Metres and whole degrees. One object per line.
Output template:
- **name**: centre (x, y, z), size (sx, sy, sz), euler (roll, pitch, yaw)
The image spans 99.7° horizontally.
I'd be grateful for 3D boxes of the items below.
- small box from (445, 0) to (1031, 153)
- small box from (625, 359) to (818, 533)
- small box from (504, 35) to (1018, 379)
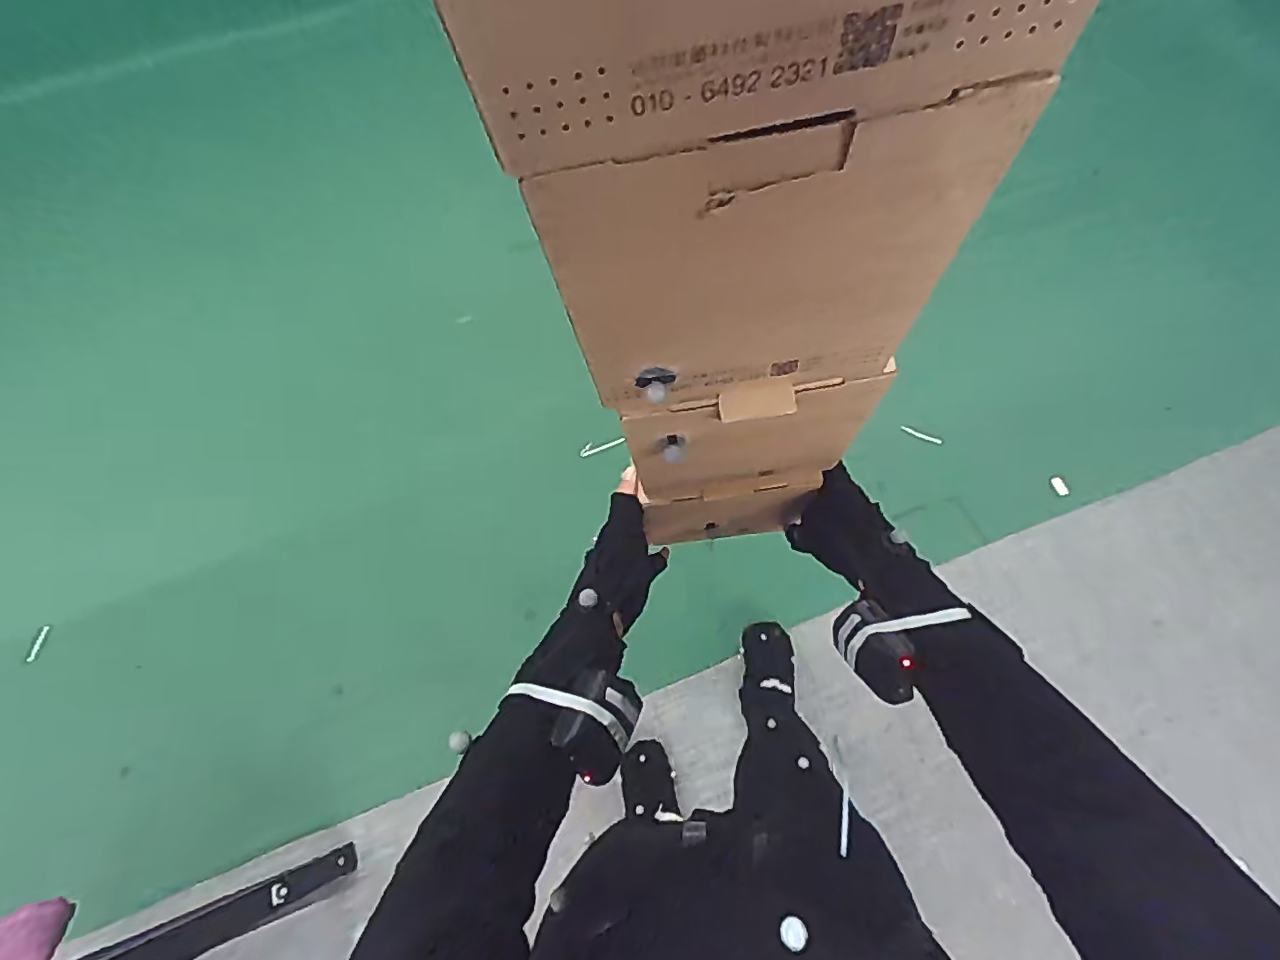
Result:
- **small box**: centre (0.013, -0.217, 0.118), size (0.168, 0.176, 0.179), euler (-10, 71, 4)
- **small box**: centre (0.075, -0.052, 0.579), size (0.168, 0.176, 0.179), euler (-8, 72, 4)
- **small box**: centre (0.036, -0.166, 0.273), size (0.168, 0.176, 0.179), euler (-9, 70, 4)
